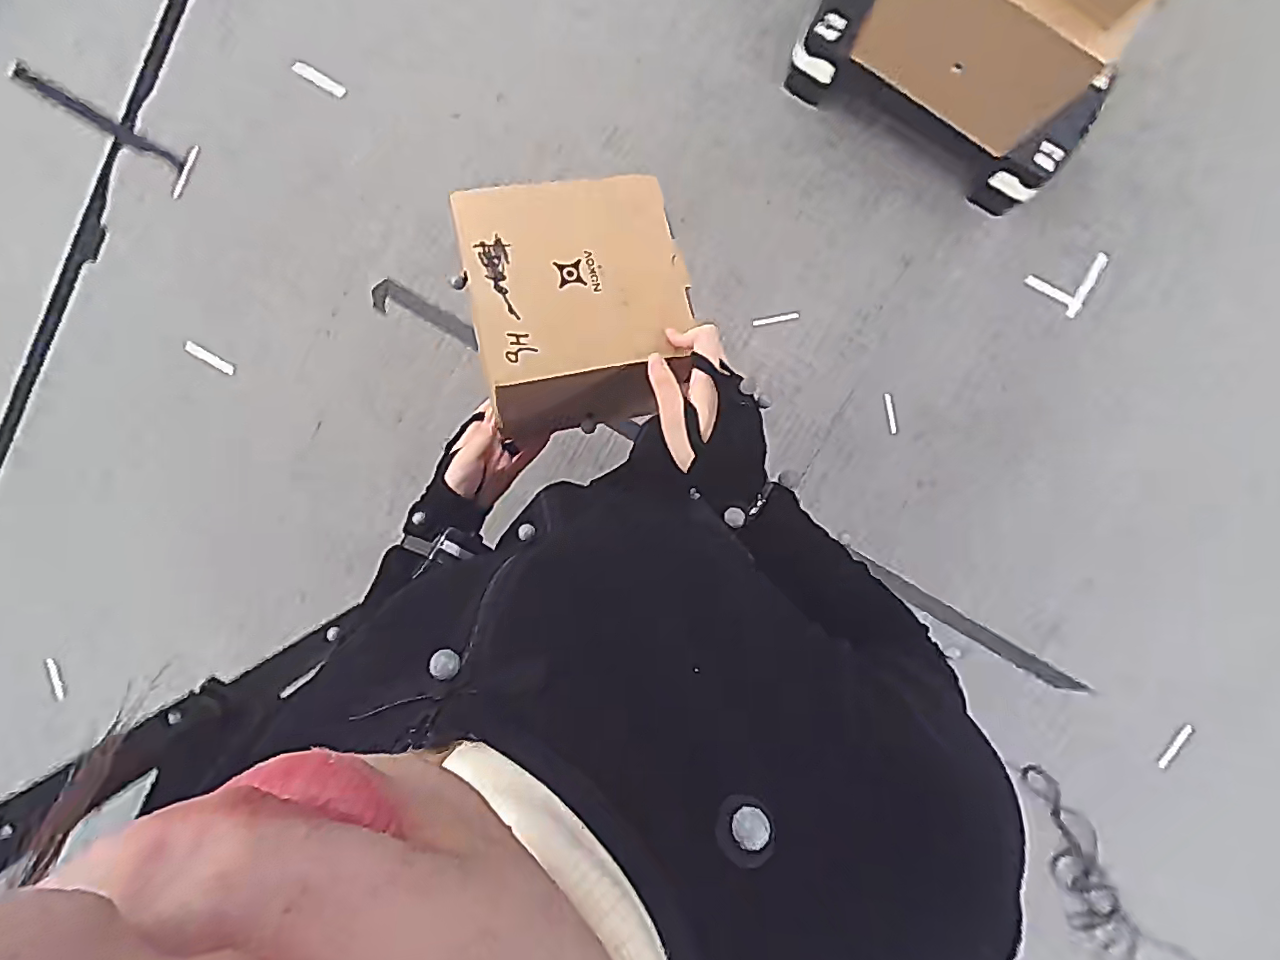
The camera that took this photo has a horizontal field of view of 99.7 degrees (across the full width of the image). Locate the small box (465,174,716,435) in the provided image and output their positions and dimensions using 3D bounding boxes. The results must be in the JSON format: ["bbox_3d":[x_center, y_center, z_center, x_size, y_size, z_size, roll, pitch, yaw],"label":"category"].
[{"bbox_3d":[-0.055,-0.151,0.503,0.179,0.176,0.168,-11,81,-15],"label":"small box"}]

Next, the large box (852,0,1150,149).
[{"bbox_3d":[0.699,-0.937,1.028,0.408,0.320,0.320,33,95,0],"label":"large box"}]

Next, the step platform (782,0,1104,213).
[{"bbox_3d":[0.686,-0.960,1.266,0.684,0.204,0.286,35,96,0],"label":"step platform"}]
